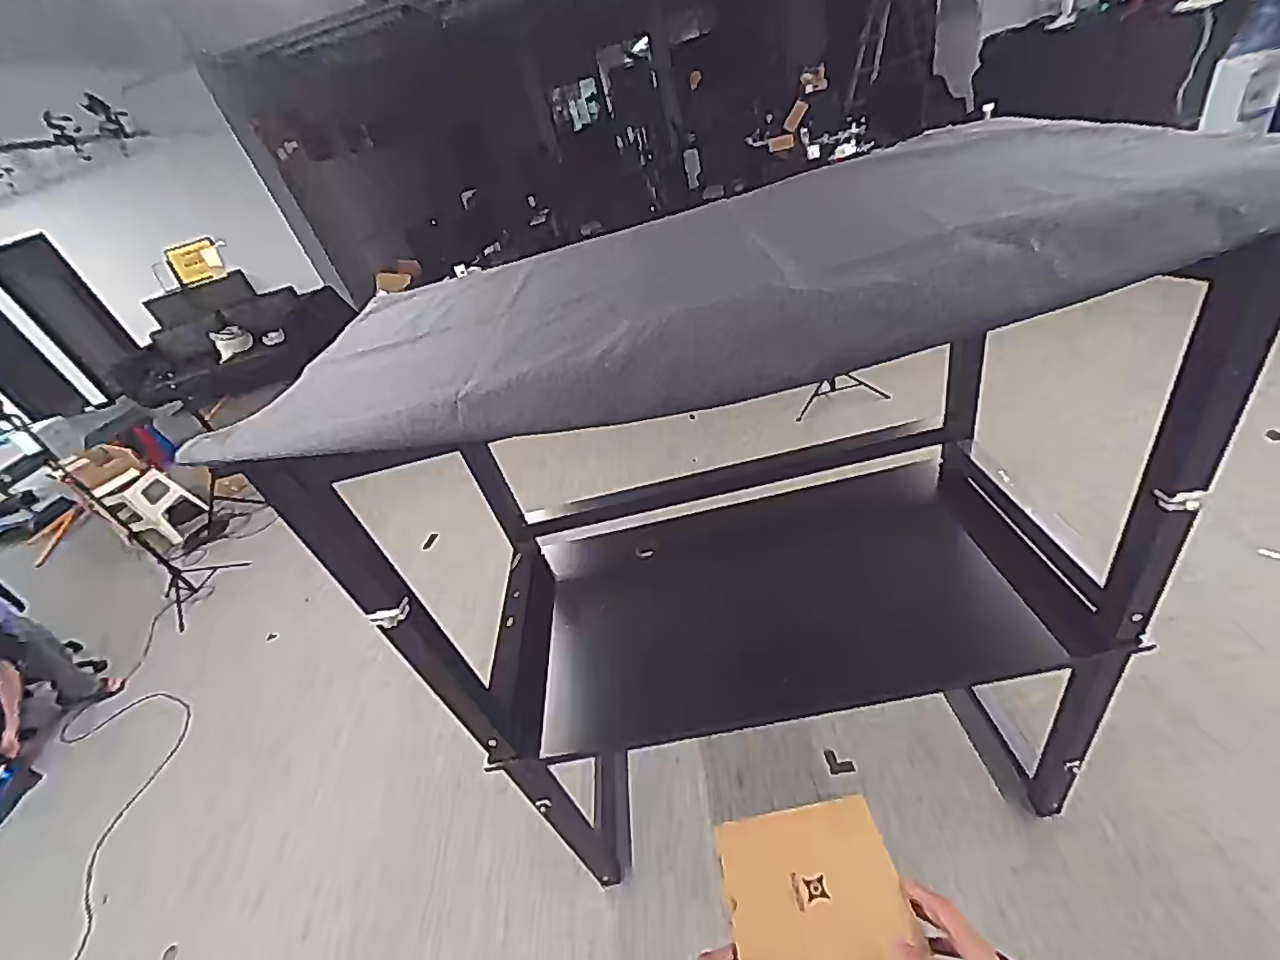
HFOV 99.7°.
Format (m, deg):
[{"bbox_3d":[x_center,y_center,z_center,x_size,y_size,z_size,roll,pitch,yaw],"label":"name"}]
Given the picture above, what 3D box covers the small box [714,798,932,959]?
[{"bbox_3d":[0.189,0.482,0.575,0.179,0.176,0.168,-14,25,4],"label":"small box"}]
